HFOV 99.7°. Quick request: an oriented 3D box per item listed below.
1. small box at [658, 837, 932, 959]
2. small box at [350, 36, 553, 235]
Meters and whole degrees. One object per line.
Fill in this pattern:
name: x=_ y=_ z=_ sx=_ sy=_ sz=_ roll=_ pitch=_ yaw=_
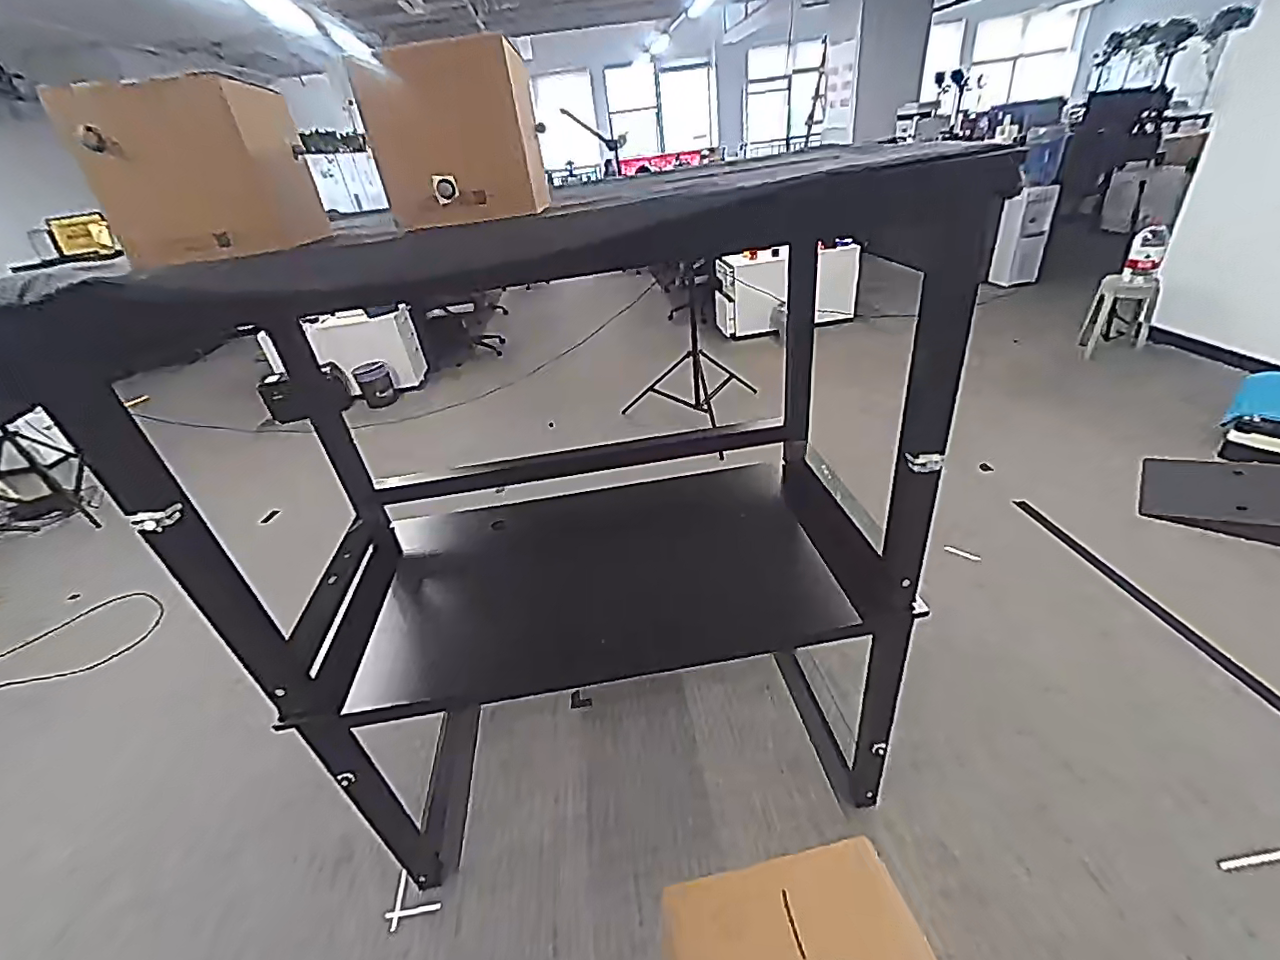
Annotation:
small box: x=0.113 y=0.393 z=0.364 sx=0.168 sy=0.176 sz=0.179 roll=-8 pitch=28 yaw=-10
small box: x=-0.203 y=-0.397 z=0.644 sx=0.168 sy=0.176 sz=0.179 roll=-8 pitch=31 yaw=0
